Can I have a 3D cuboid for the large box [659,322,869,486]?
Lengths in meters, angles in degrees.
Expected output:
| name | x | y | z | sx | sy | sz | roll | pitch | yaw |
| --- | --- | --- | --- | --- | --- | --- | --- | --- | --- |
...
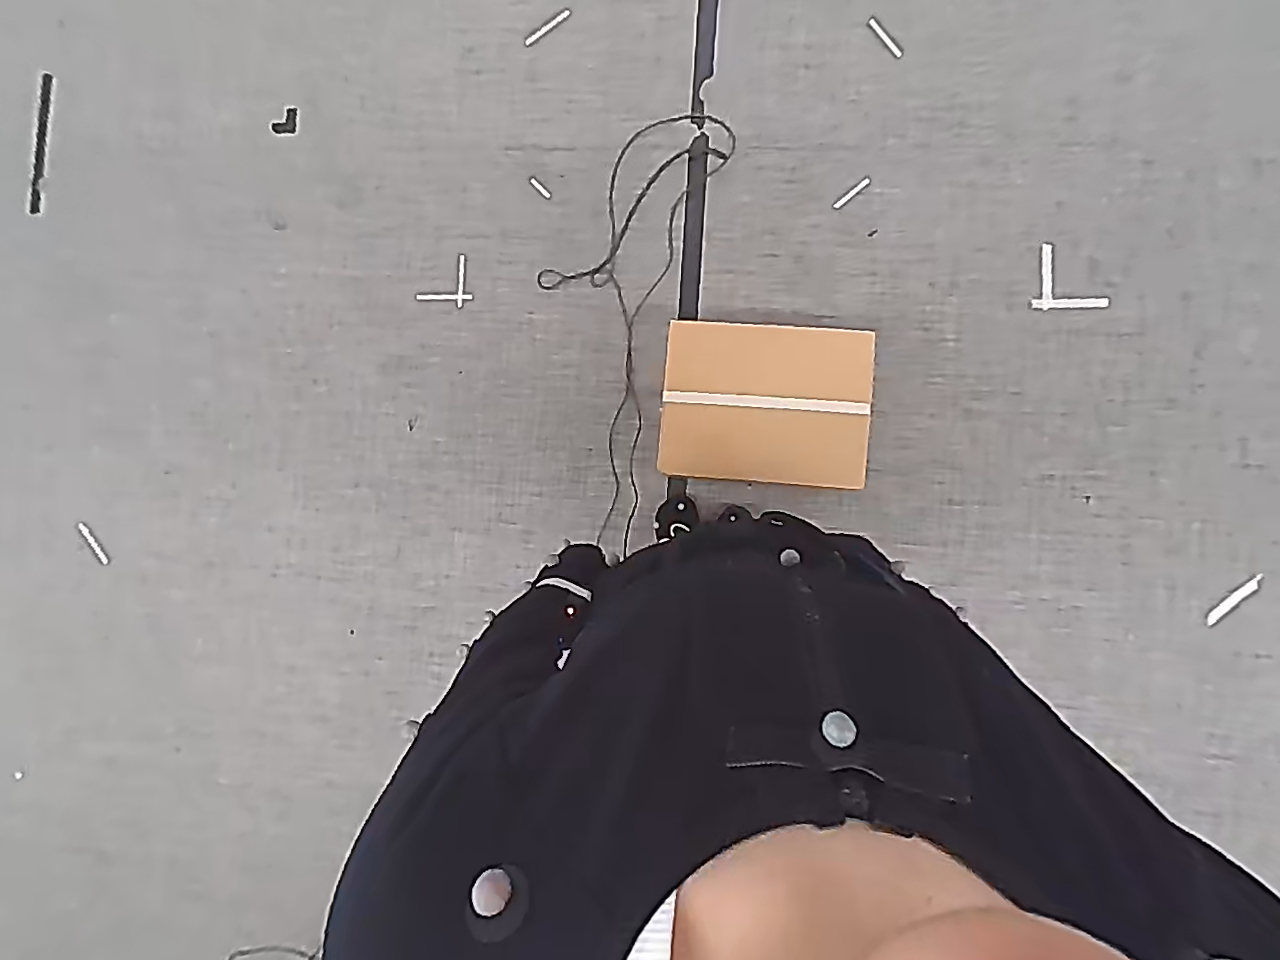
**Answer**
| name | x | y | z | sx | sy | sz | roll | pitch | yaw |
| --- | --- | --- | --- | --- | --- | --- | --- | --- | --- |
| large box | 0.255 | -0.153 | 1.227 | 0.408 | 0.320 | 0.320 | 5 | 90 | 5 |
